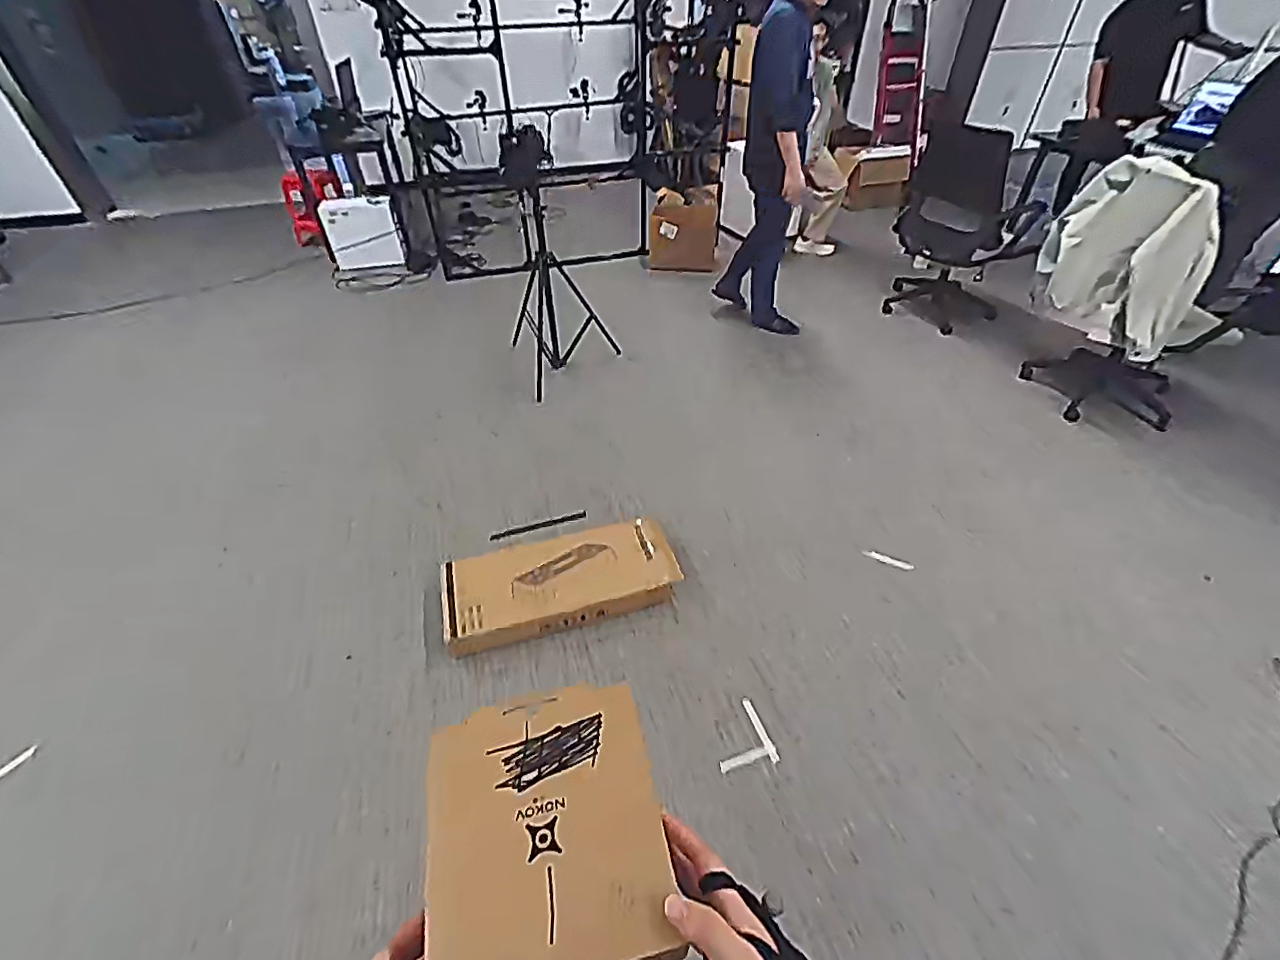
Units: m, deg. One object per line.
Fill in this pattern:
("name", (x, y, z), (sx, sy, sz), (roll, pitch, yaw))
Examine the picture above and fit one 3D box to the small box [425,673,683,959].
("small box", (-0.068, 0.295, 0.452), (0.168, 0.176, 0.179), (-12, 48, -7))
